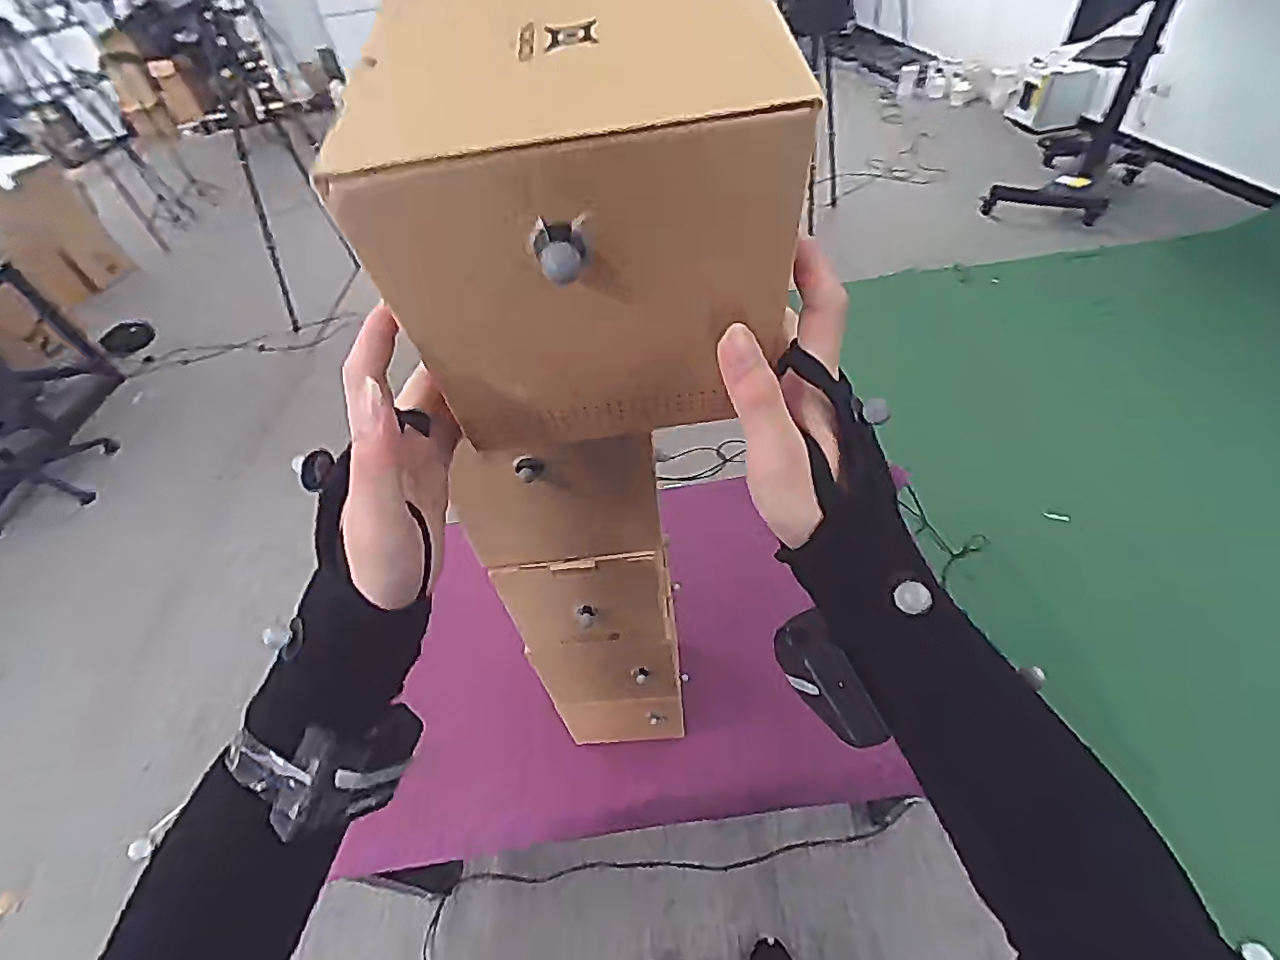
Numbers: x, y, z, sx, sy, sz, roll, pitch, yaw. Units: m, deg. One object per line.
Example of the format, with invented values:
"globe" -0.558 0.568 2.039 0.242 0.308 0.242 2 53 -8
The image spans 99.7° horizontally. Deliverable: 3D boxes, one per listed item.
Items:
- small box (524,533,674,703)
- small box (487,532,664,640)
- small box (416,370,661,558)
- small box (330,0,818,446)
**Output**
"small box" -0.045 0.191 0.743 0.179 0.176 0.168 -5 46 4
"small box" -0.062 0.074 0.630 0.168 0.176 0.179 -5 46 3
"small box" -0.079 -0.041 0.513 0.179 0.176 0.168 -6 46 1
"small box" -0.022 -0.138 0.295 0.179 0.176 0.168 -8 58 4
